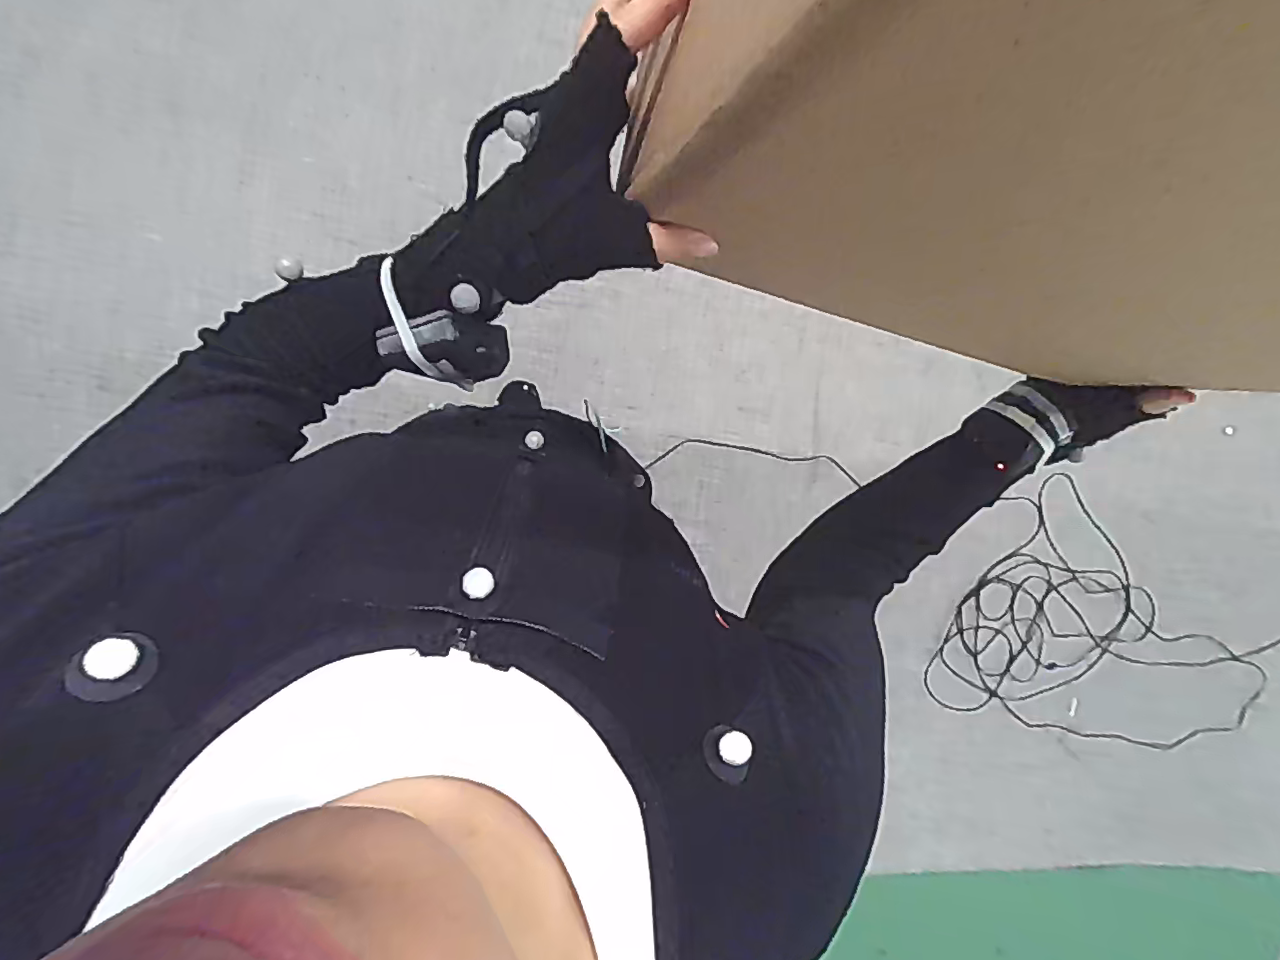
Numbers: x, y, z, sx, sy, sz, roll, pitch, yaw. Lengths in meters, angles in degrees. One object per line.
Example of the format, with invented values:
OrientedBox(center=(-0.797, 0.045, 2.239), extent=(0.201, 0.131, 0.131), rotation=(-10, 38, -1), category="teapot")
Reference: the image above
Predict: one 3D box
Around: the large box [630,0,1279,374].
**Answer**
OrientedBox(center=(0.246, -0.235, 0.230), extent=(0.408, 0.320, 0.320), rotation=(9, 100, -19), category="large box")
